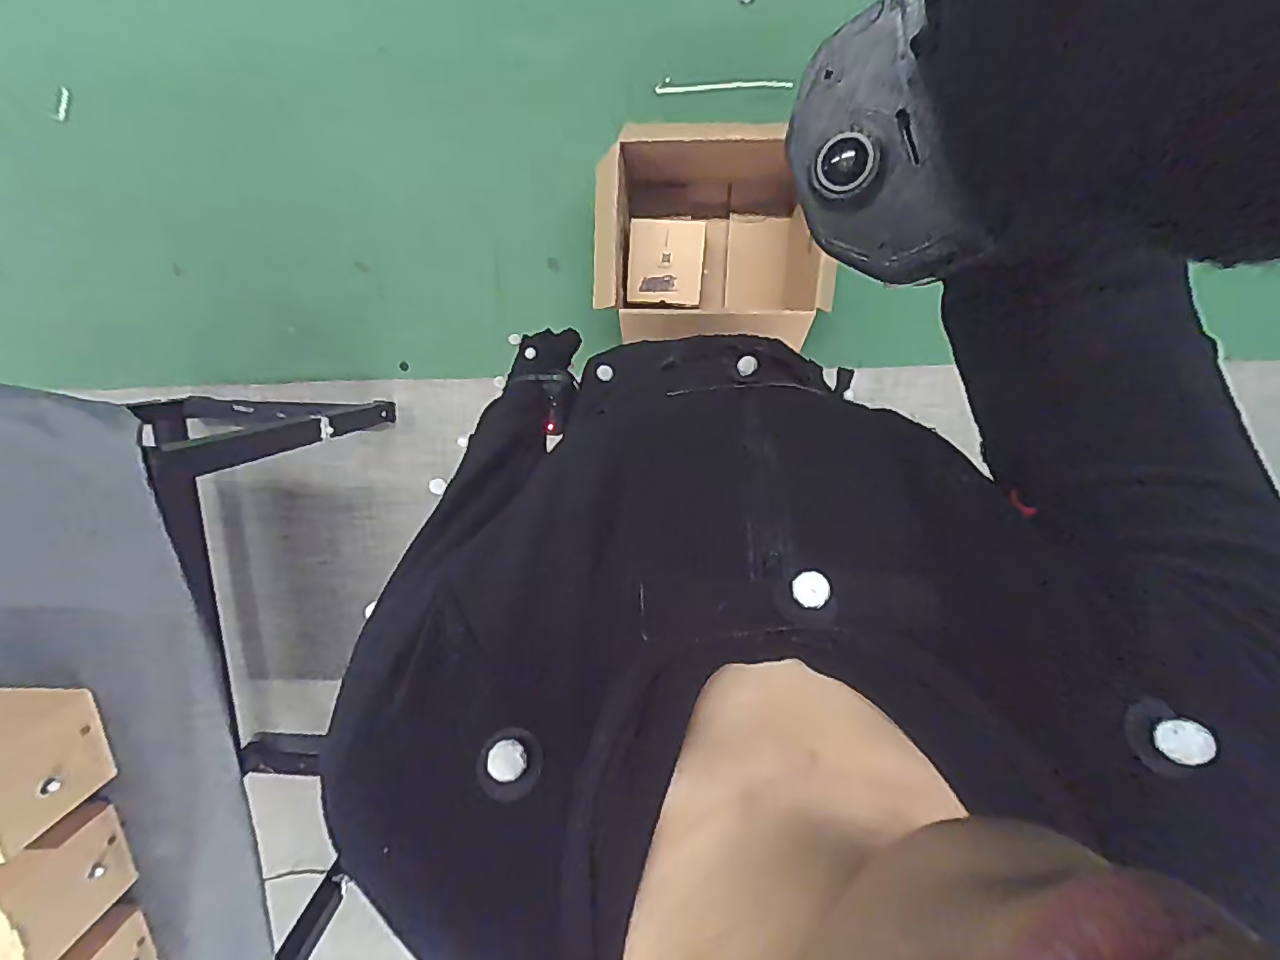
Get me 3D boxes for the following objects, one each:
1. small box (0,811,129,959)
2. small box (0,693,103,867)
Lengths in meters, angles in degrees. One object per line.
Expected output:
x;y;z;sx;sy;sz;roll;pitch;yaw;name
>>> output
-0.985;0.655;0.857;0.179;0.176;0.168;-2;104;3;small box
-0.964;0.438;0.805;0.179;0.176;0.168;-1;104;4;small box
